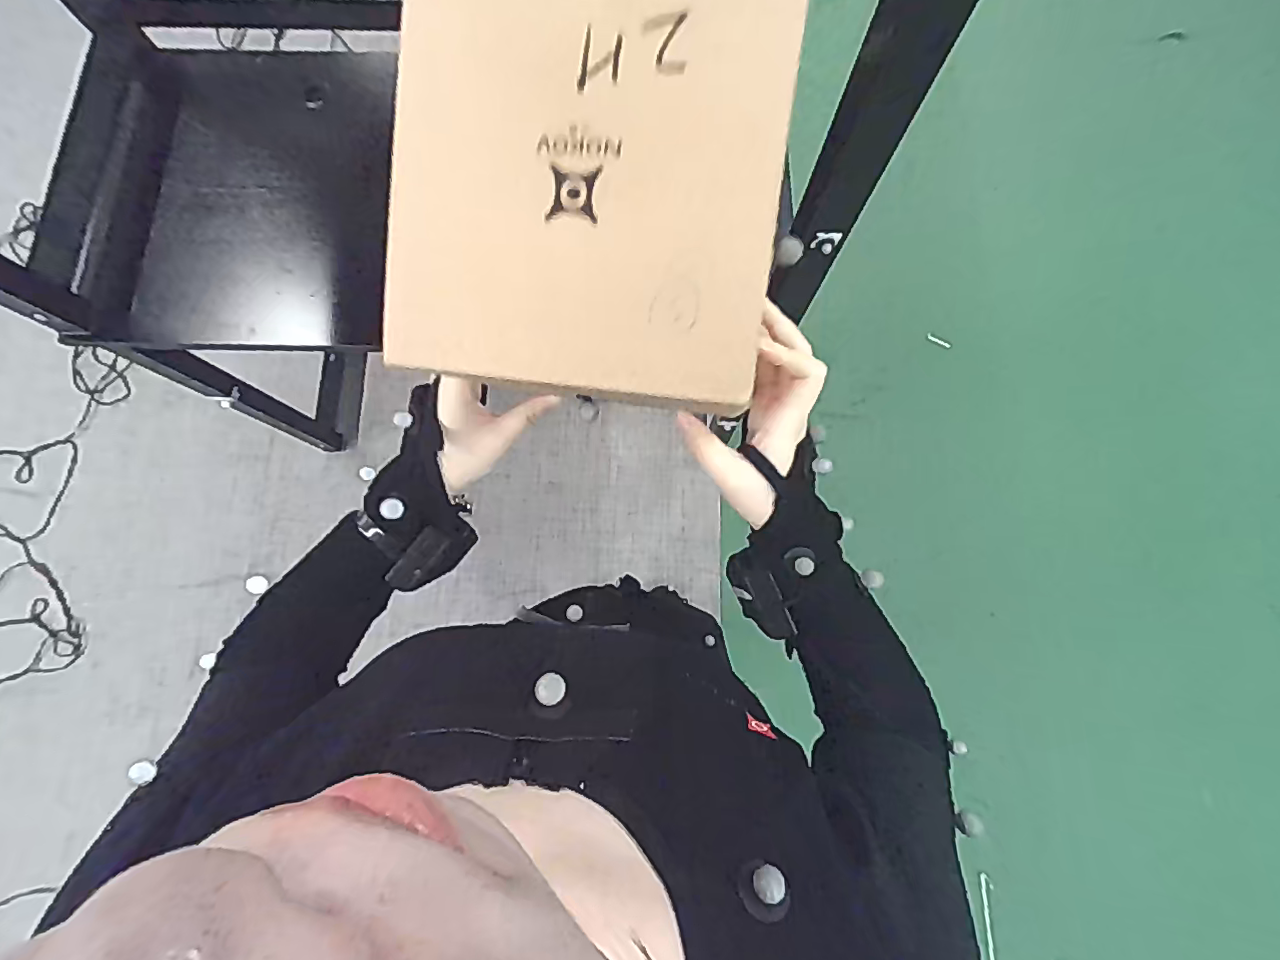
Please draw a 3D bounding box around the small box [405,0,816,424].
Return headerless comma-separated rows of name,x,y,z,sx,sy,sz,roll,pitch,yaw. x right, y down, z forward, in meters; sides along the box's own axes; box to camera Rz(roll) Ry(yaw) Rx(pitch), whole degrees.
small box,-0.009,-0.130,0.311,0.168,0.176,0.179,8,97,6
